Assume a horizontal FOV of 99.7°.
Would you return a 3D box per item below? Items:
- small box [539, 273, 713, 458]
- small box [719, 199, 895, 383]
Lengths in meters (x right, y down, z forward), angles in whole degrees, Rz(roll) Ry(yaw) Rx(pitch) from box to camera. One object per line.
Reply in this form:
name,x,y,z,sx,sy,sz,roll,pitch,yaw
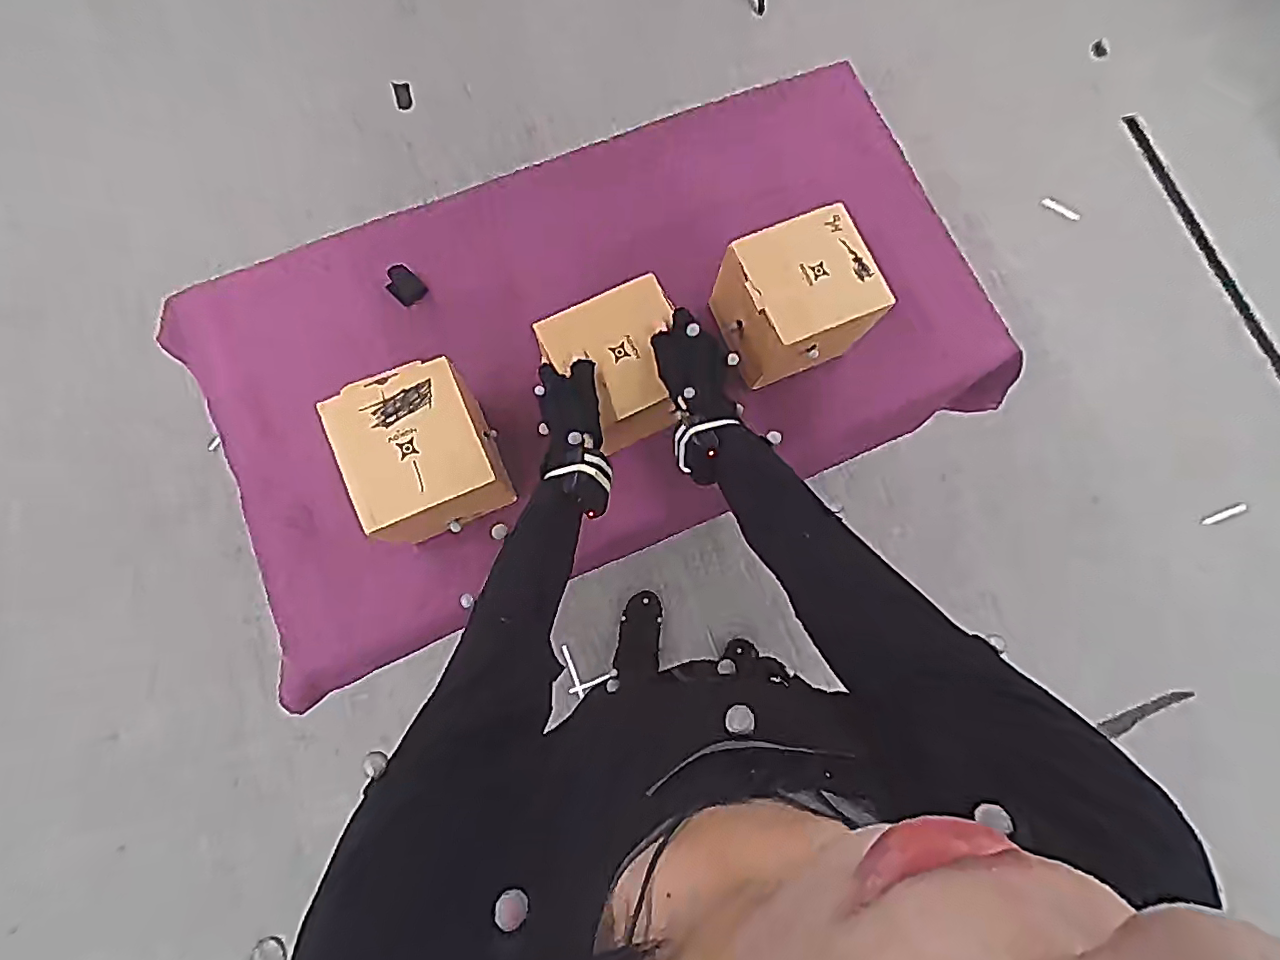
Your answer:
small box,-0.023,-0.151,0.768,0.179,0.176,0.168,-28,82,-7
small box,0.229,-0.267,0.803,0.179,0.176,0.168,-23,81,-6
